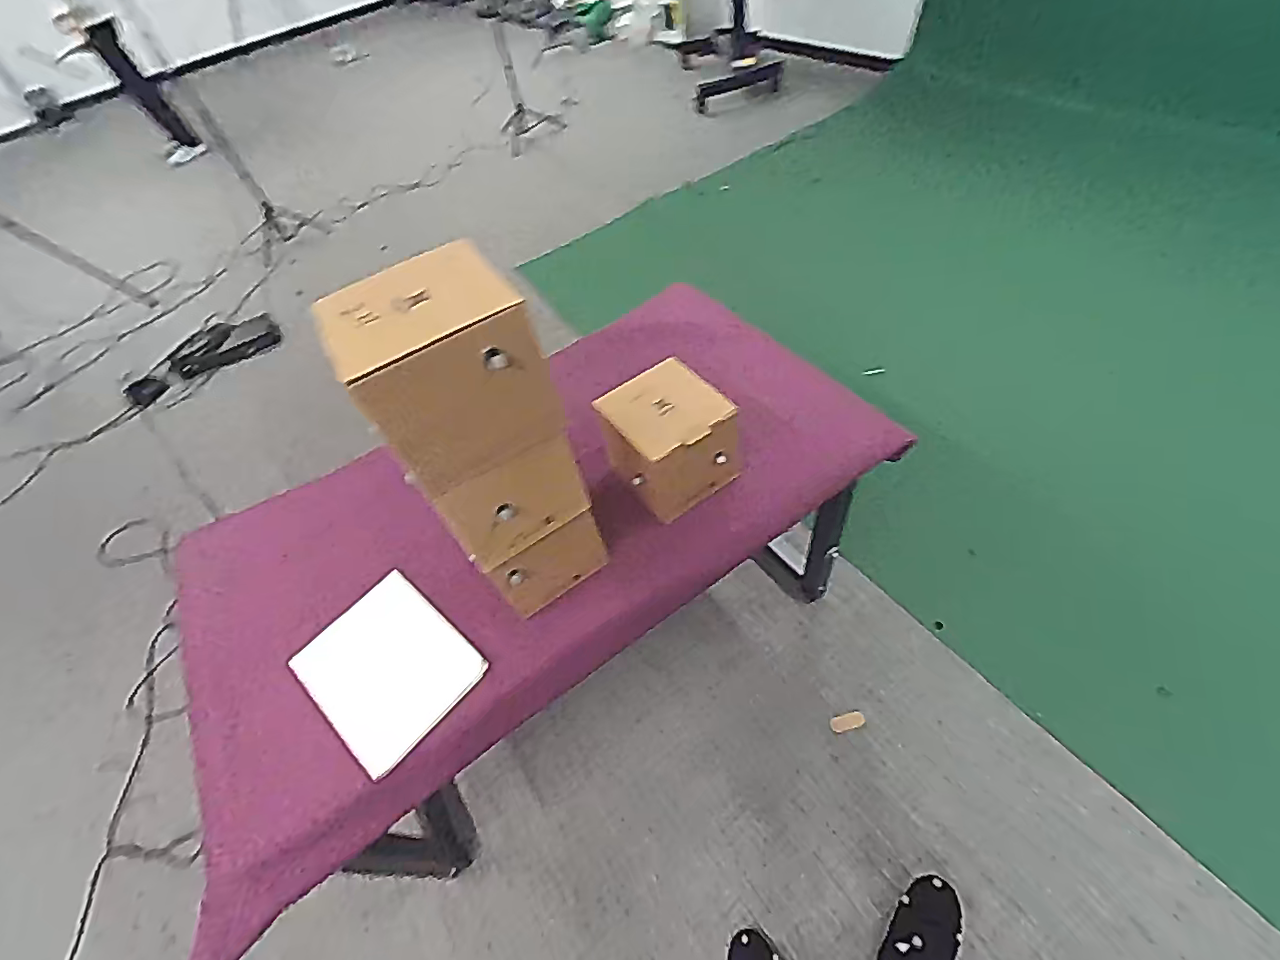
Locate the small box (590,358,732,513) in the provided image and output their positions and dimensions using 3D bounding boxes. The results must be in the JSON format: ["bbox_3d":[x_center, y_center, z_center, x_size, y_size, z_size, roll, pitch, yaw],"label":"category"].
[{"bbox_3d":[0.041,-0.067,0.917,0.168,0.176,0.179,-32,53,-15],"label":"small box"}]

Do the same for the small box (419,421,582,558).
[{"bbox_3d":[-0.197,-0.021,0.715,0.168,0.176,0.179,-32,53,-15],"label":"small box"}]

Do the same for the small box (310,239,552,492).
[{"bbox_3d":[-0.211,-0.122,0.585,0.179,0.176,0.168,-31,53,-13],"label":"small box"}]
